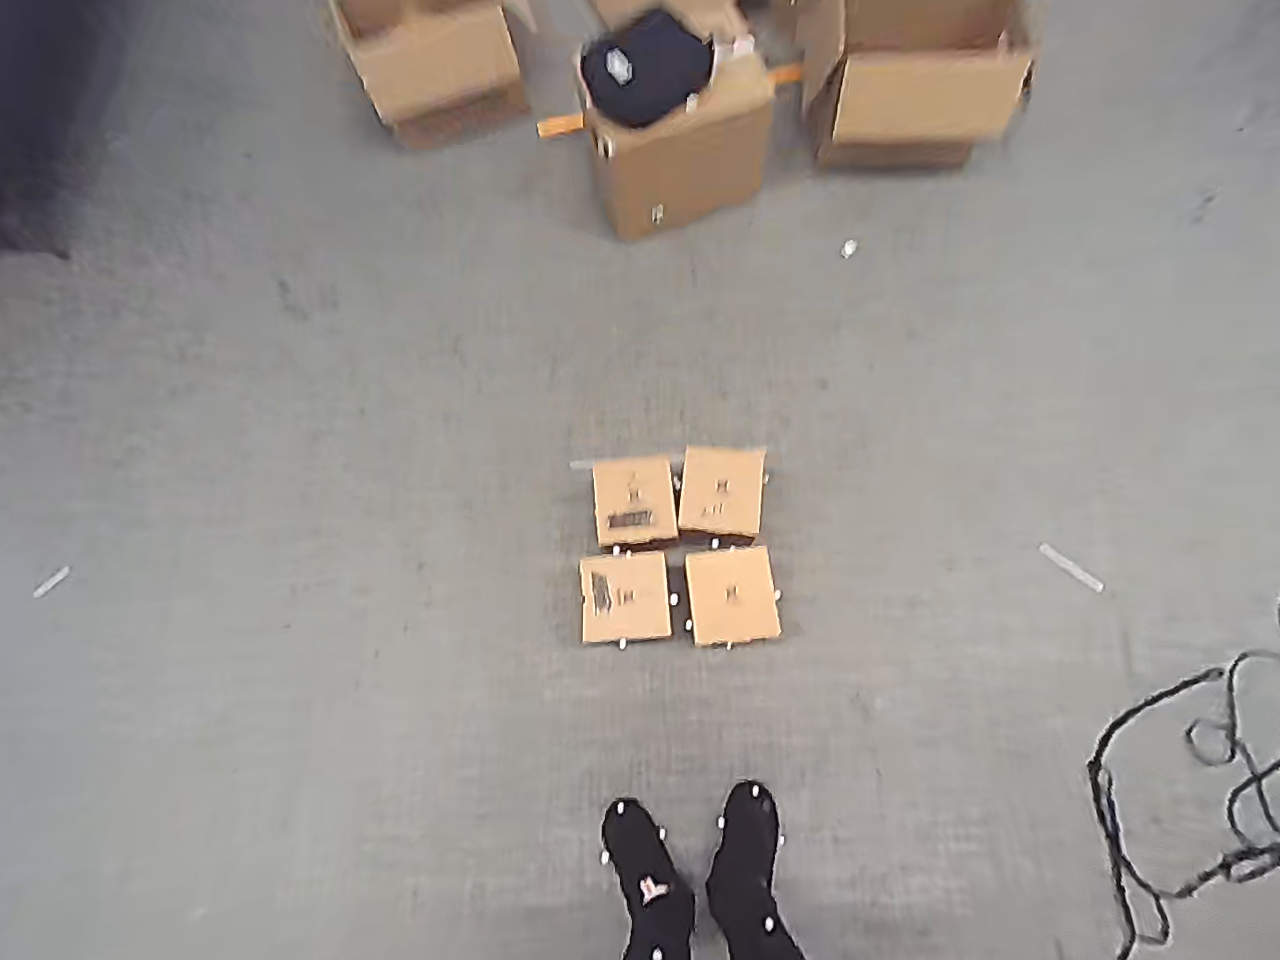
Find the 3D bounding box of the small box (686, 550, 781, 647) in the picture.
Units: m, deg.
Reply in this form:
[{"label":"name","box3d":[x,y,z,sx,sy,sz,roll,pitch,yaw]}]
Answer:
[{"label":"small box","box3d":[0.188,0.253,1.136,0.168,0.176,0.179,-7,74,3]}]
